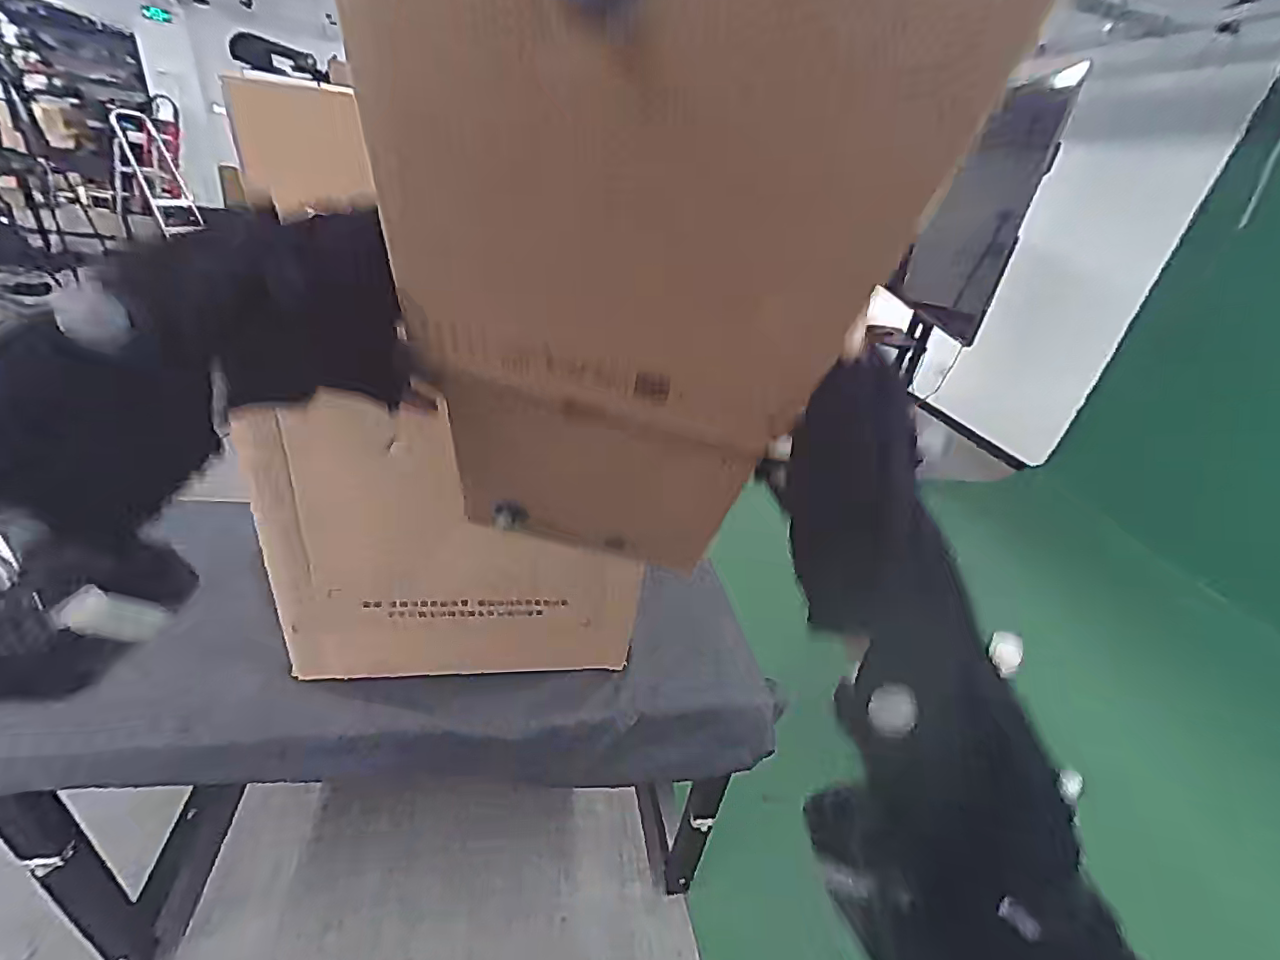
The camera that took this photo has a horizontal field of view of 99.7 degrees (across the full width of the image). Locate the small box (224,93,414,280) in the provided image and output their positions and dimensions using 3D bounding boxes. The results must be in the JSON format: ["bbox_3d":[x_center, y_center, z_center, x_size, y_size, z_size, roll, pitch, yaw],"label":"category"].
[{"bbox_3d":[-0.355,-0.355,0.658,0.168,0.176,0.179,-2,34,-12],"label":"small box"}]

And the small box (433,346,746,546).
[{"bbox_3d":[-0.018,-0.076,0.367,0.168,0.176,0.179,12,53,-3],"label":"small box"}]
